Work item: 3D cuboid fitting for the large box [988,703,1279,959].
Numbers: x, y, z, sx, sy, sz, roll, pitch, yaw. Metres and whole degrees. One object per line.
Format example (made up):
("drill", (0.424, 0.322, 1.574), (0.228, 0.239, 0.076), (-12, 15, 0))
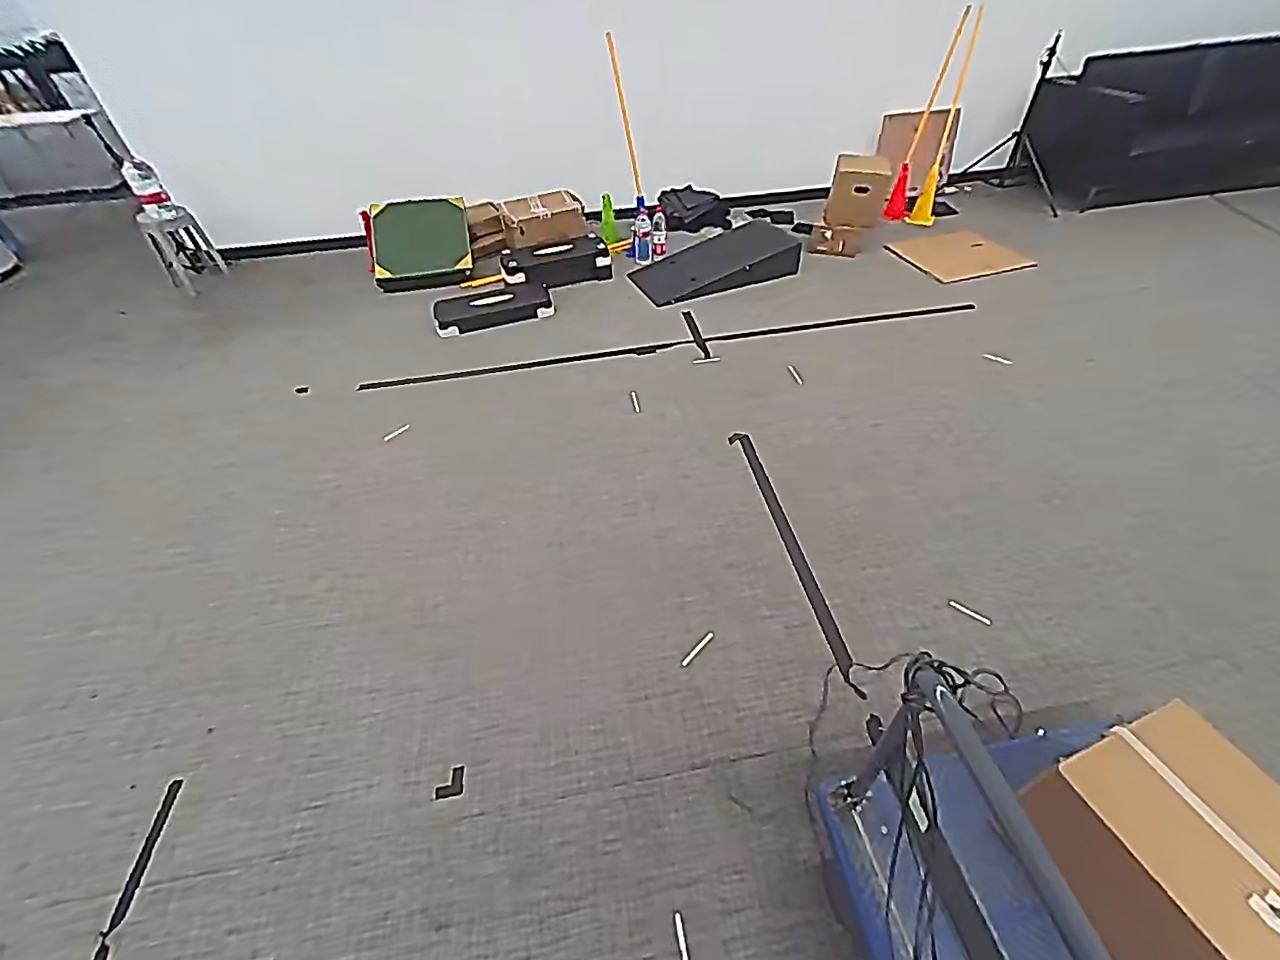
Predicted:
("large box", (0.933, 0.685, 0.938), (0.320, 0.320, 0.408), (-18, 47, -13))
